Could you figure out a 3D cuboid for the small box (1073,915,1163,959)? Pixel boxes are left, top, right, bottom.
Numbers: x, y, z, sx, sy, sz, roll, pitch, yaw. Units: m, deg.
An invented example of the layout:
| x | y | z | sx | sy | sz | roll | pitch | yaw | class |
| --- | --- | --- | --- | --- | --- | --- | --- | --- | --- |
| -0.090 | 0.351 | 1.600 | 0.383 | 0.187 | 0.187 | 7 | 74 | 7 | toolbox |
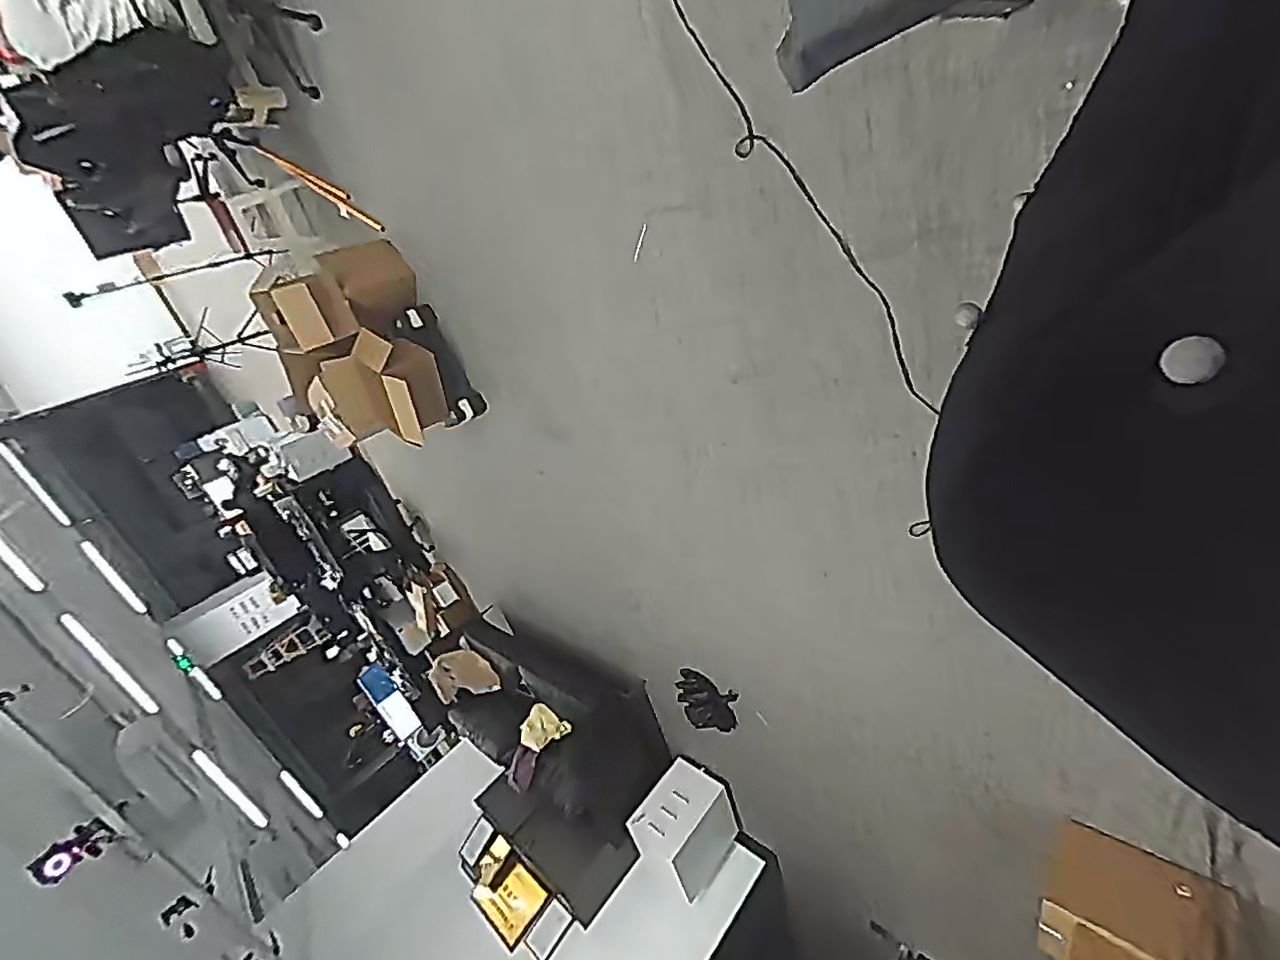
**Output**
| x | y | z | sx | sy | sz | roll | pitch | yaw | class |
| --- | --- | --- | --- | --- | --- | --- | --- | --- | --- |
| 1.367 | 1.417 | 1.554 | 0.179 | 0.176 | 0.168 | 16 | 129 | 43 | small box |
